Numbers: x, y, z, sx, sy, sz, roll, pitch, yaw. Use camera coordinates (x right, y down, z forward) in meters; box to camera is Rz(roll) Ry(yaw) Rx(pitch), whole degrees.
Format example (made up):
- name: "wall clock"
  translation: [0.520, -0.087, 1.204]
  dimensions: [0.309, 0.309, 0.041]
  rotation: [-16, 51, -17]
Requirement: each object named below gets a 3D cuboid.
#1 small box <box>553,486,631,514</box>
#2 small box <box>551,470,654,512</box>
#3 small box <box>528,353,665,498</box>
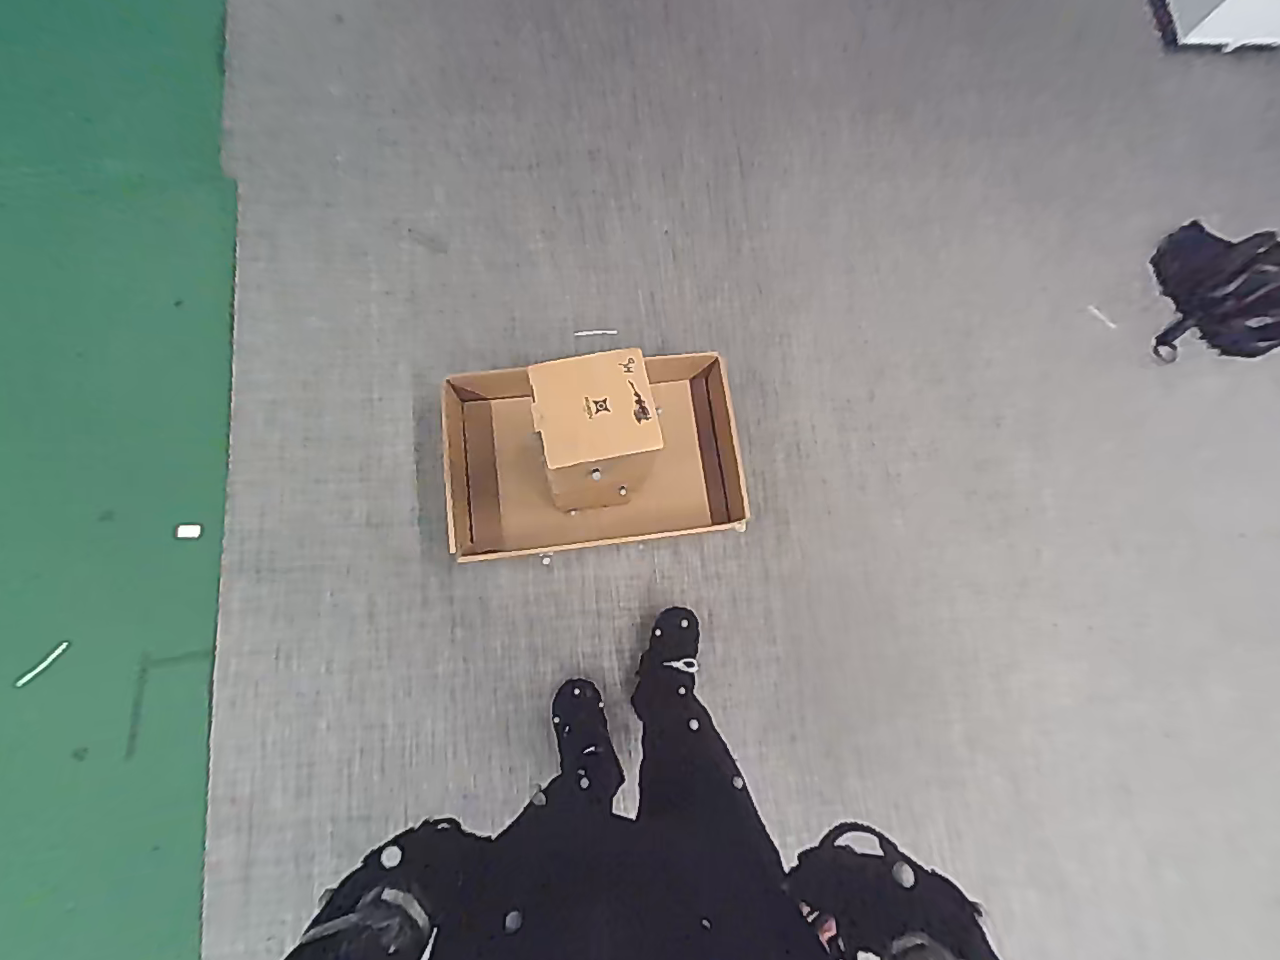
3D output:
- name: "small box"
  translation: [-0.108, -0.024, 1.197]
  dimensions: [0.168, 0.176, 0.179]
  rotation: [-7, 78, -6]
- name: "small box"
  translation: [-0.085, -0.046, 1.021]
  dimensions: [0.179, 0.176, 0.168]
  rotation: [-13, 79, -8]
- name: "small box"
  translation: [-0.071, -0.080, 0.881]
  dimensions: [0.179, 0.176, 0.168]
  rotation: [-14, 77, -9]
